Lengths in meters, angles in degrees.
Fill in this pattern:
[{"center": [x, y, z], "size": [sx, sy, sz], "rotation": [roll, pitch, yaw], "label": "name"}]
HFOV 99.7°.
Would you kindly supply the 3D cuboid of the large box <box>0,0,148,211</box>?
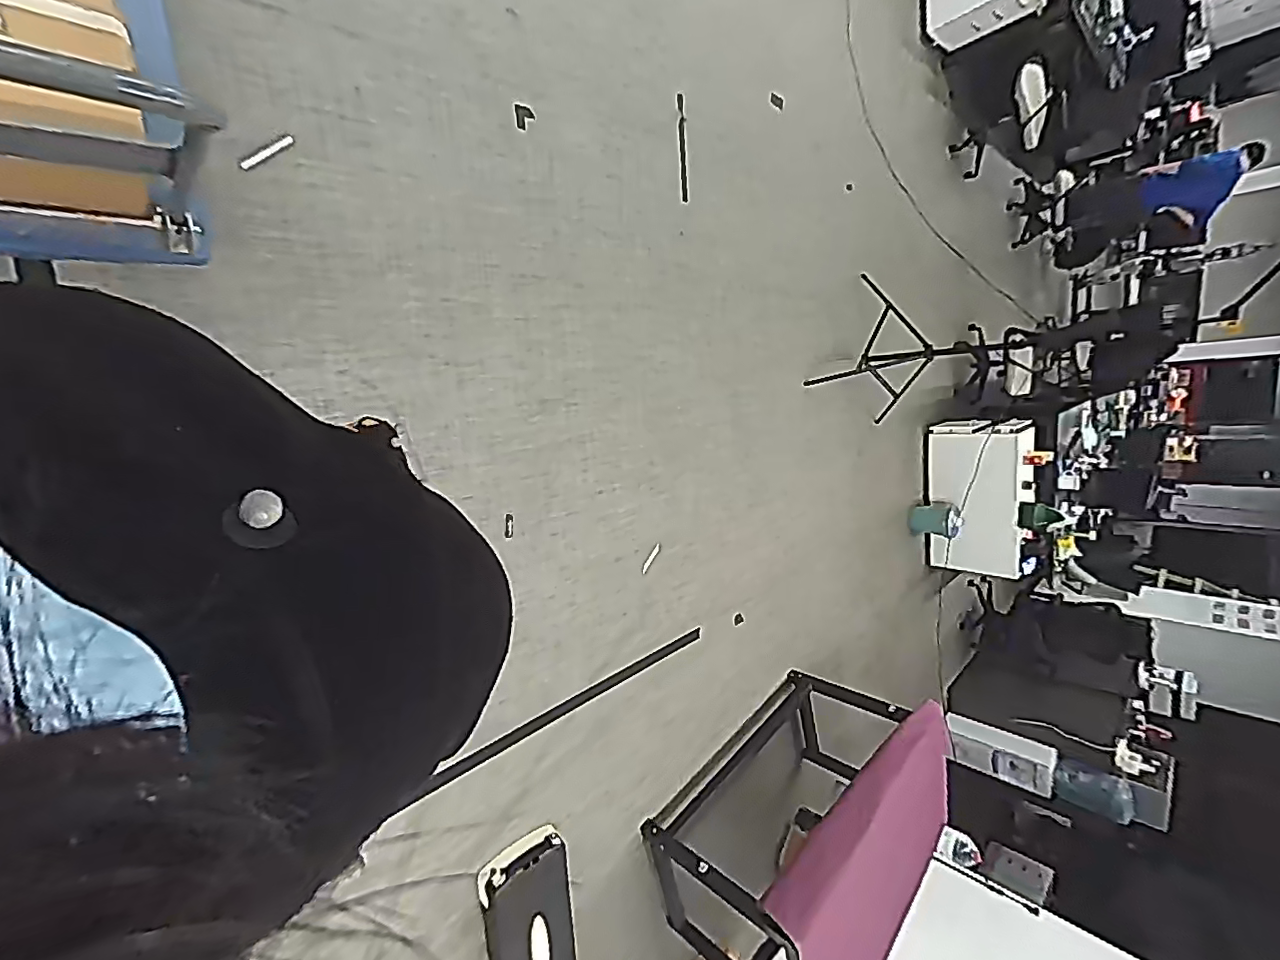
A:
[{"center": [-0.970, -0.595, 0.728], "size": [0.408, 0.320, 0.320], "rotation": [-14, 103, -42], "label": "large box"}]
